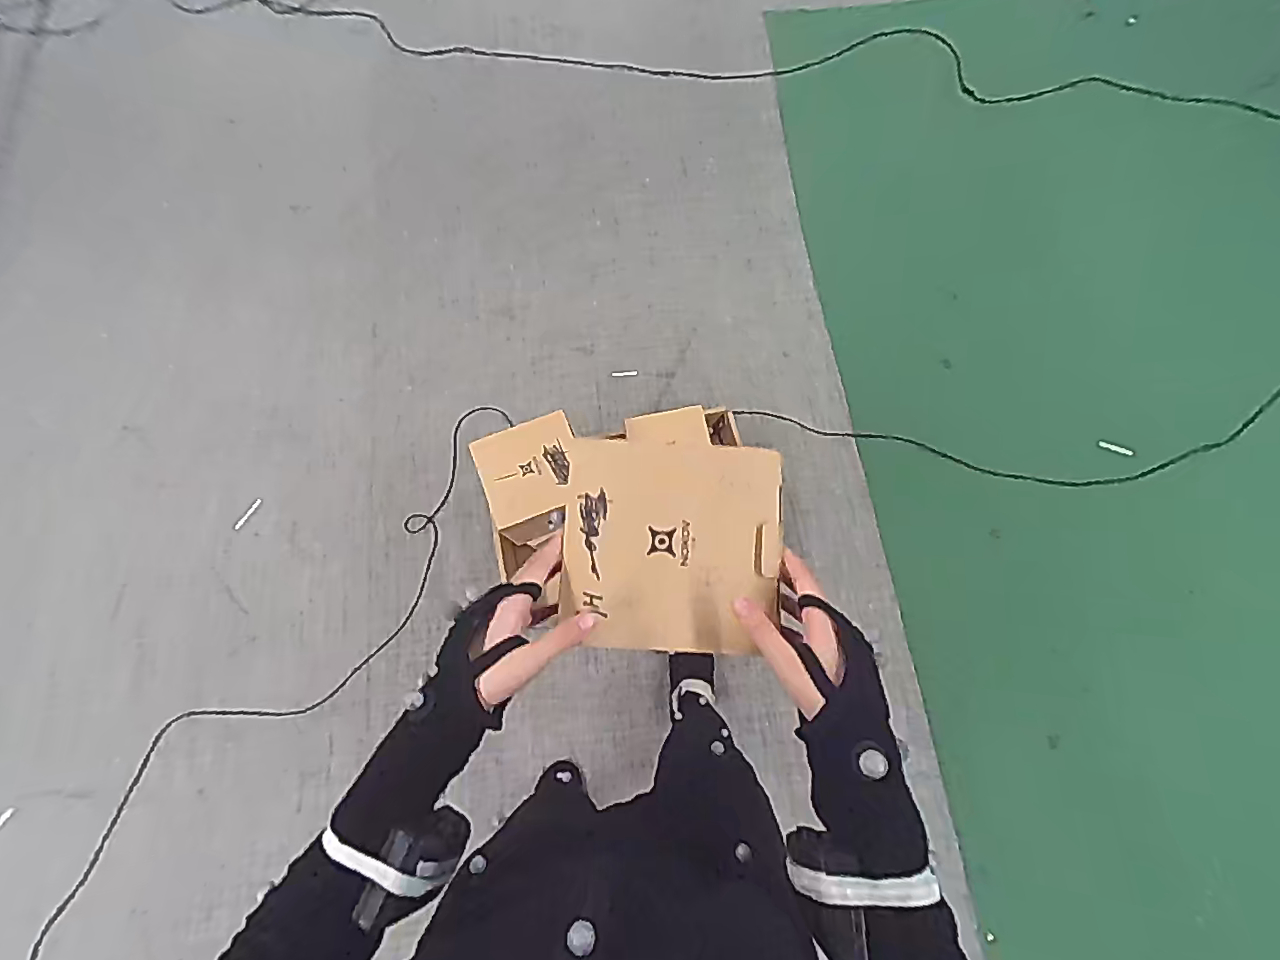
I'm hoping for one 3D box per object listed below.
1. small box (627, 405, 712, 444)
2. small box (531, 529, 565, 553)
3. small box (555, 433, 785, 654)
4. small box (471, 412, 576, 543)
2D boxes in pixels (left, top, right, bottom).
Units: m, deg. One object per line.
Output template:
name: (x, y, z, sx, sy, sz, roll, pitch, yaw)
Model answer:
small box: (0.067, -0.038, 1.164, 0.168, 0.176, 0.179, -11, 75, -1)
small box: (-0.171, 0.039, 1.152, 0.179, 0.176, 0.168, -28, 77, -7)
small box: (0.025, 0.059, 0.507, 0.179, 0.176, 0.168, 4, 81, 0)
small box: (-0.182, 0.002, 0.992, 0.179, 0.176, 0.168, -21, 76, -5)
